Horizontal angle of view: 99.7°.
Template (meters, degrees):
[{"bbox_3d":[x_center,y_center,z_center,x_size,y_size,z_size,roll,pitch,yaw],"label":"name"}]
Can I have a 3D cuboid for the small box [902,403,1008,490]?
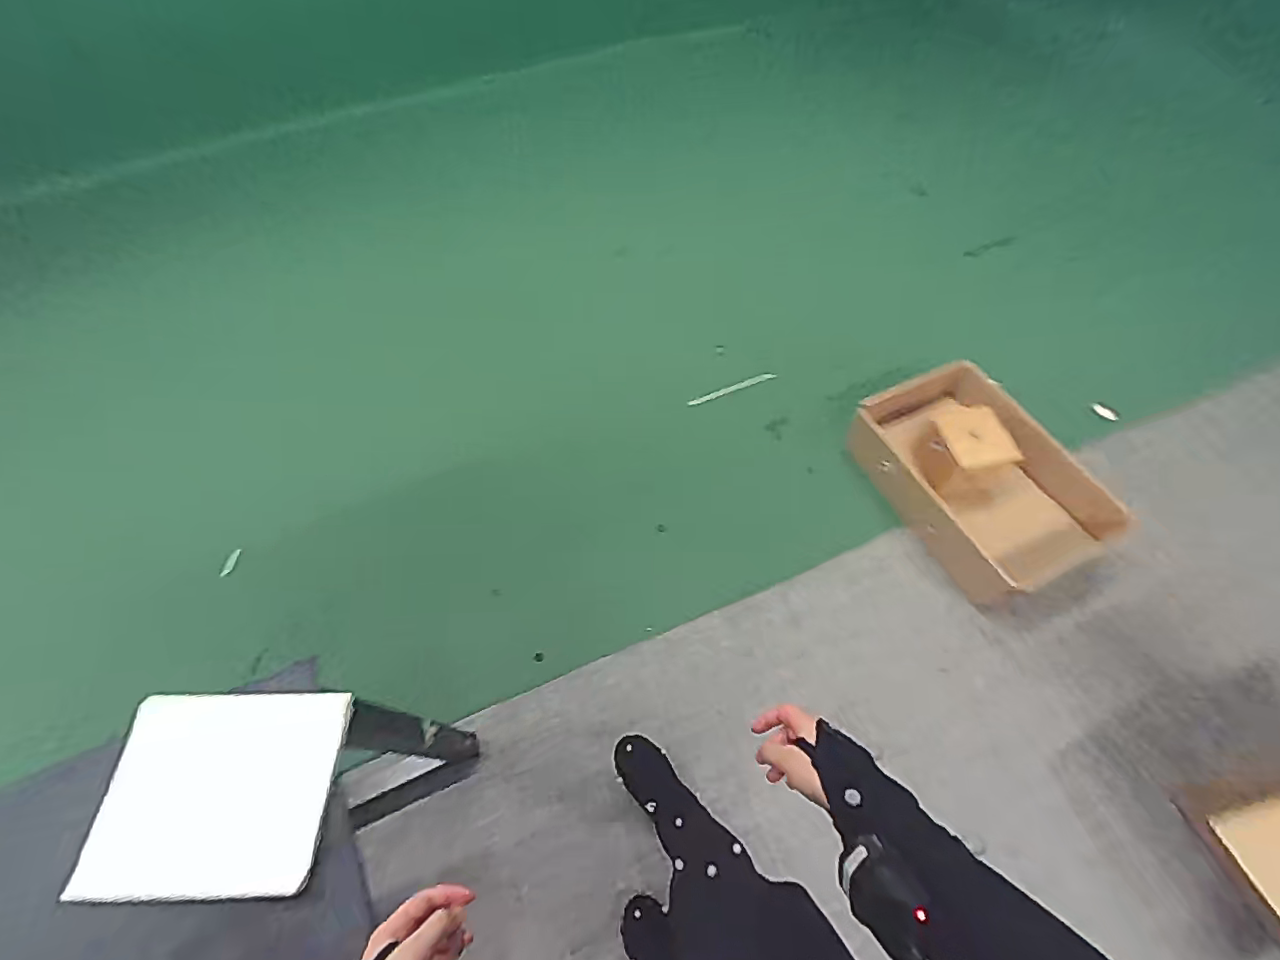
[{"bbox_3d":[0.881,-0.087,1.530,0.168,0.176,0.179,-12,60,-5],"label":"small box"}]
